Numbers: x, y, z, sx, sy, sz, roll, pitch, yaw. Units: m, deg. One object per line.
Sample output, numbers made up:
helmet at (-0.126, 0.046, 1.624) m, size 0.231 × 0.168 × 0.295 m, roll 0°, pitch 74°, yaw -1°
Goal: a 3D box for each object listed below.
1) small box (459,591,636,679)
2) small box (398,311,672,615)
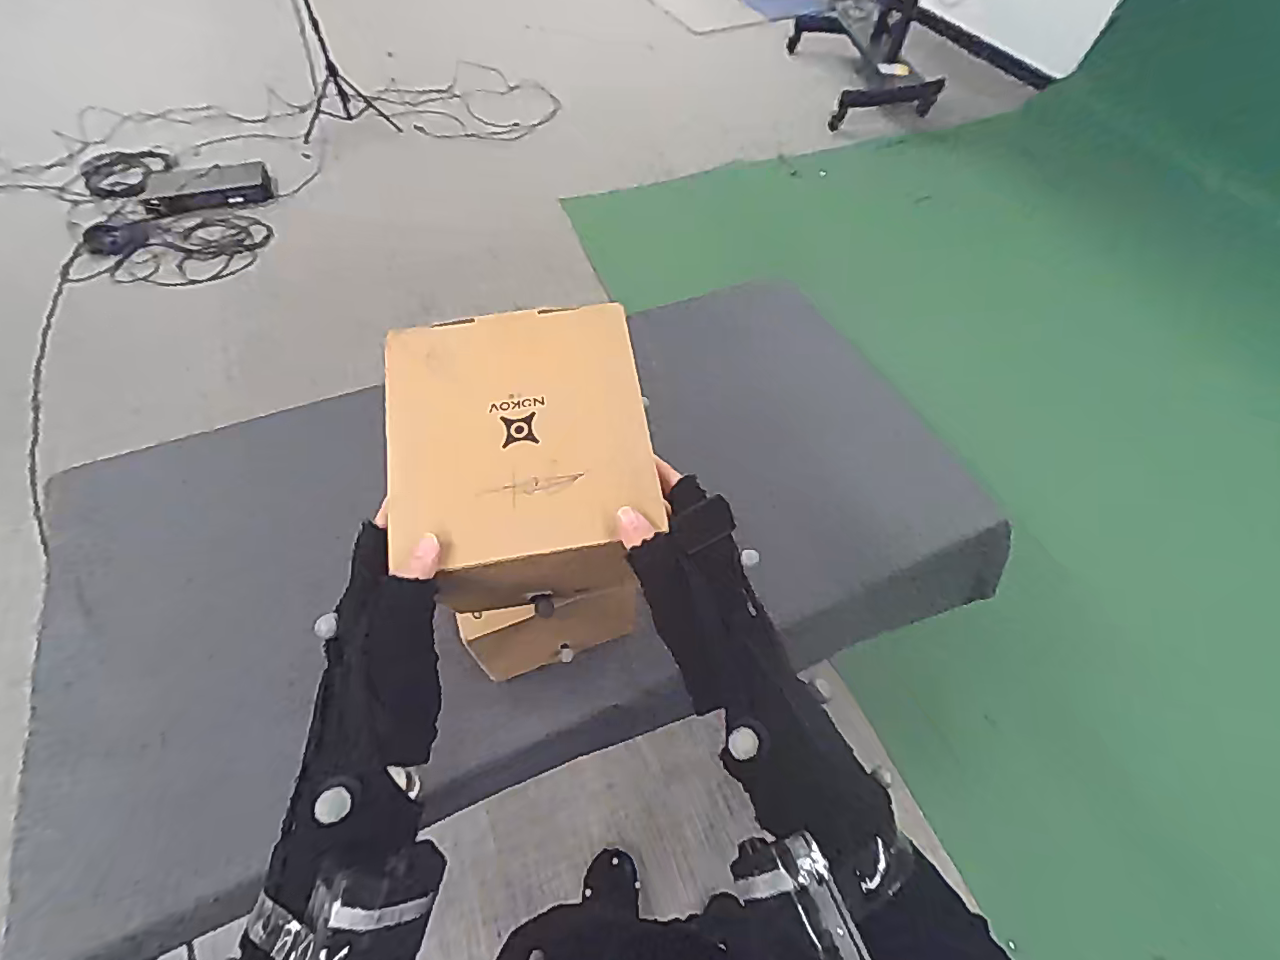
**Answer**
small box at (-0.117, 0.110, 0.637) m, size 0.179 × 0.176 × 0.168 m, roll -17°, pitch 59°, yaw -14°
small box at (-0.077, -0.003, 0.427) m, size 0.168 × 0.176 × 0.179 m, roll -9°, pitch 69°, yaw -5°
